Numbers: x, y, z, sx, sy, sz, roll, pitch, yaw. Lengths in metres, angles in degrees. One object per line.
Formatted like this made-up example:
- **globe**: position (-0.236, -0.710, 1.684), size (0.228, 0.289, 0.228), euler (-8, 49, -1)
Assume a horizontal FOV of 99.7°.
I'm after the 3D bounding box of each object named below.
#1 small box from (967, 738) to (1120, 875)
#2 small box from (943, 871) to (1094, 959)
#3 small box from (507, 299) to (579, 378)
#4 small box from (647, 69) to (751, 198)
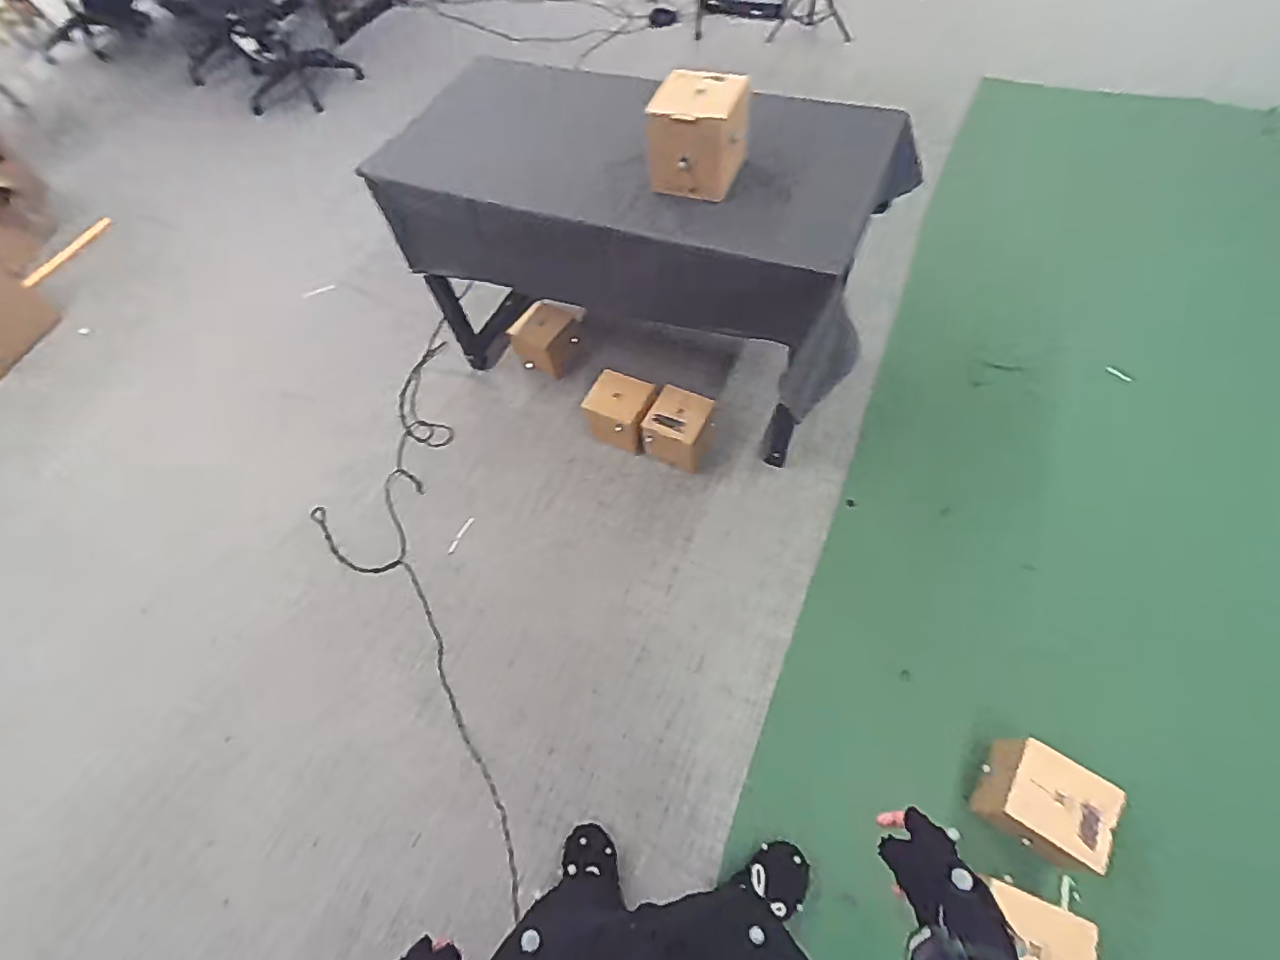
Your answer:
- **small box**: position (0.821, 0.665, 1.115), size (0.179, 0.176, 0.168), euler (30, 66, 22)
- **small box**: position (0.696, 0.864, 1.009), size (0.179, 0.176, 0.168), euler (19, 64, 15)
- **small box**: position (-0.331, -0.494, 1.893), size (0.168, 0.176, 0.179), euler (27, 65, 20)
- **small box**: position (0.128, -0.732, 1.149), size (0.168, 0.176, 0.179), euler (18, 63, 15)
